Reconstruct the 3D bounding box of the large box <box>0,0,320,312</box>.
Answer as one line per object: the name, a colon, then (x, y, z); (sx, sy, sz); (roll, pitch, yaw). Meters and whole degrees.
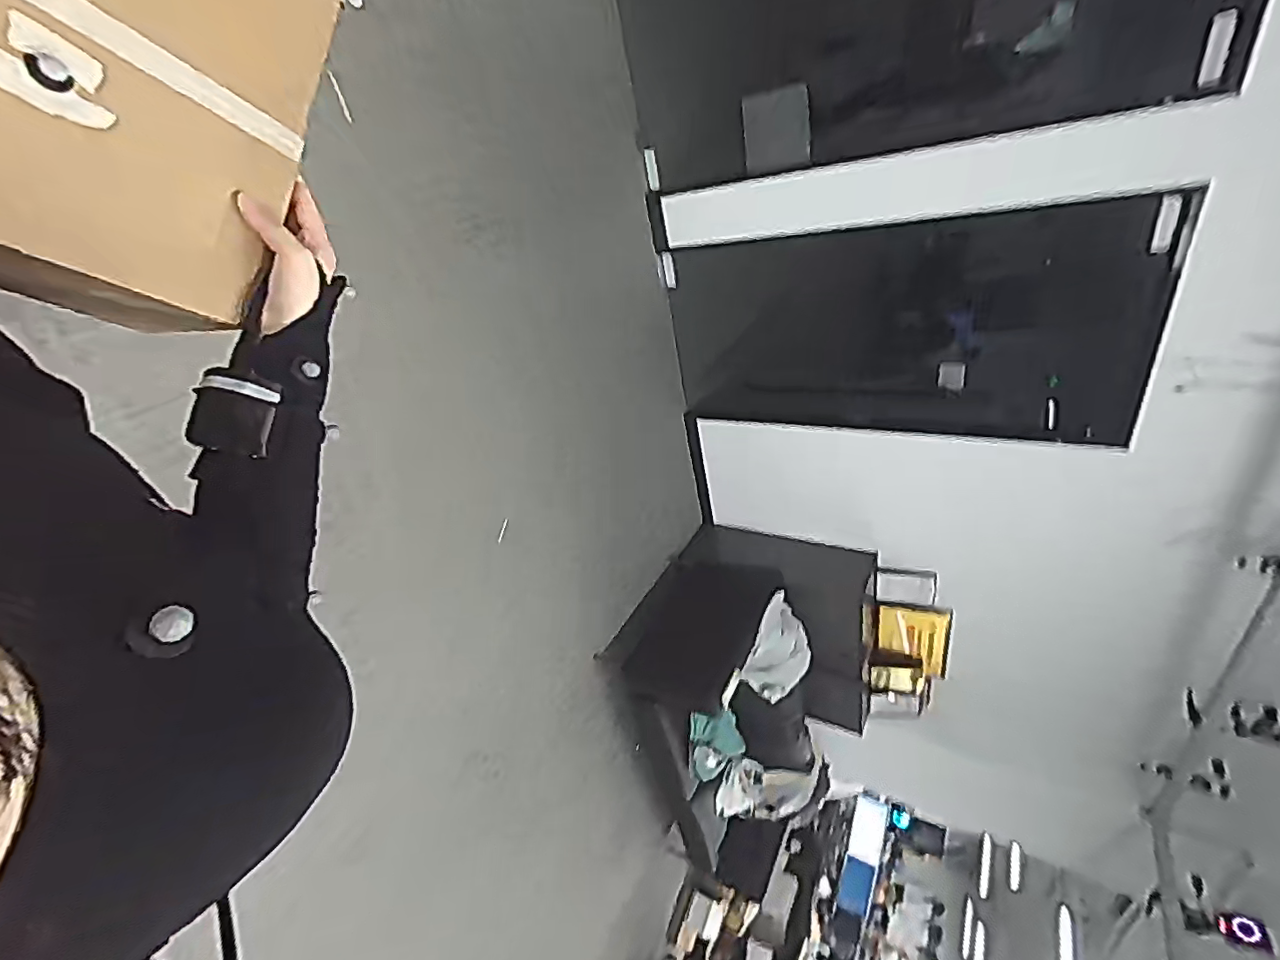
large box: (-0.527, -0.343, 0.375); (0.408, 0.320, 0.320); (16, 87, -55)
